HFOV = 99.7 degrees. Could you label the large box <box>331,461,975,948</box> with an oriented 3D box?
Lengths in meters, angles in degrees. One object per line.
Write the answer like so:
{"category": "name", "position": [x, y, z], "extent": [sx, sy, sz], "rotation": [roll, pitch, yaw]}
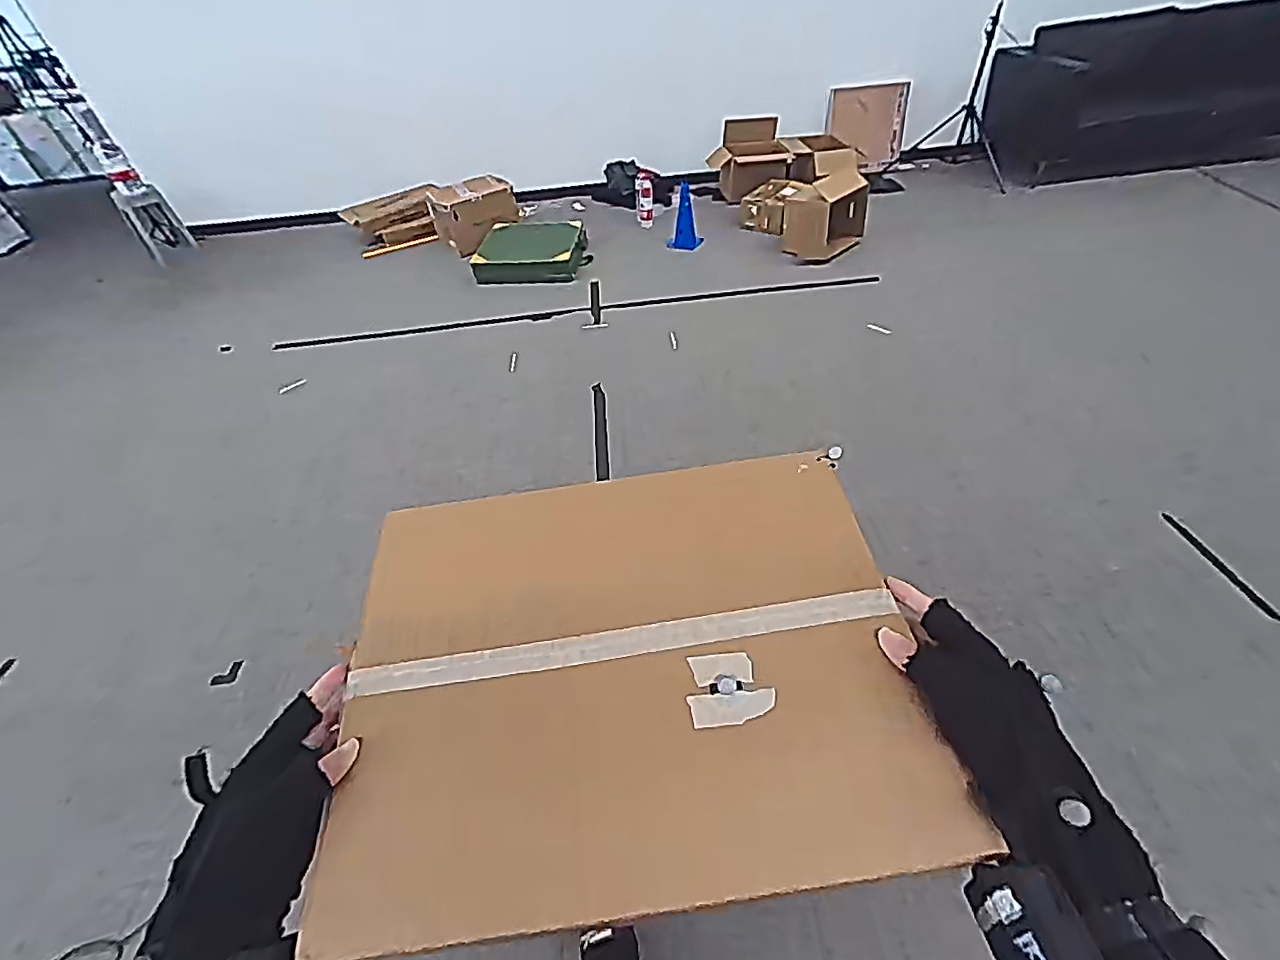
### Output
{"category": "large box", "position": [0.001, 0.220, 0.531], "extent": [0.408, 0.320, 0.320], "rotation": [-8, 51, -2]}
